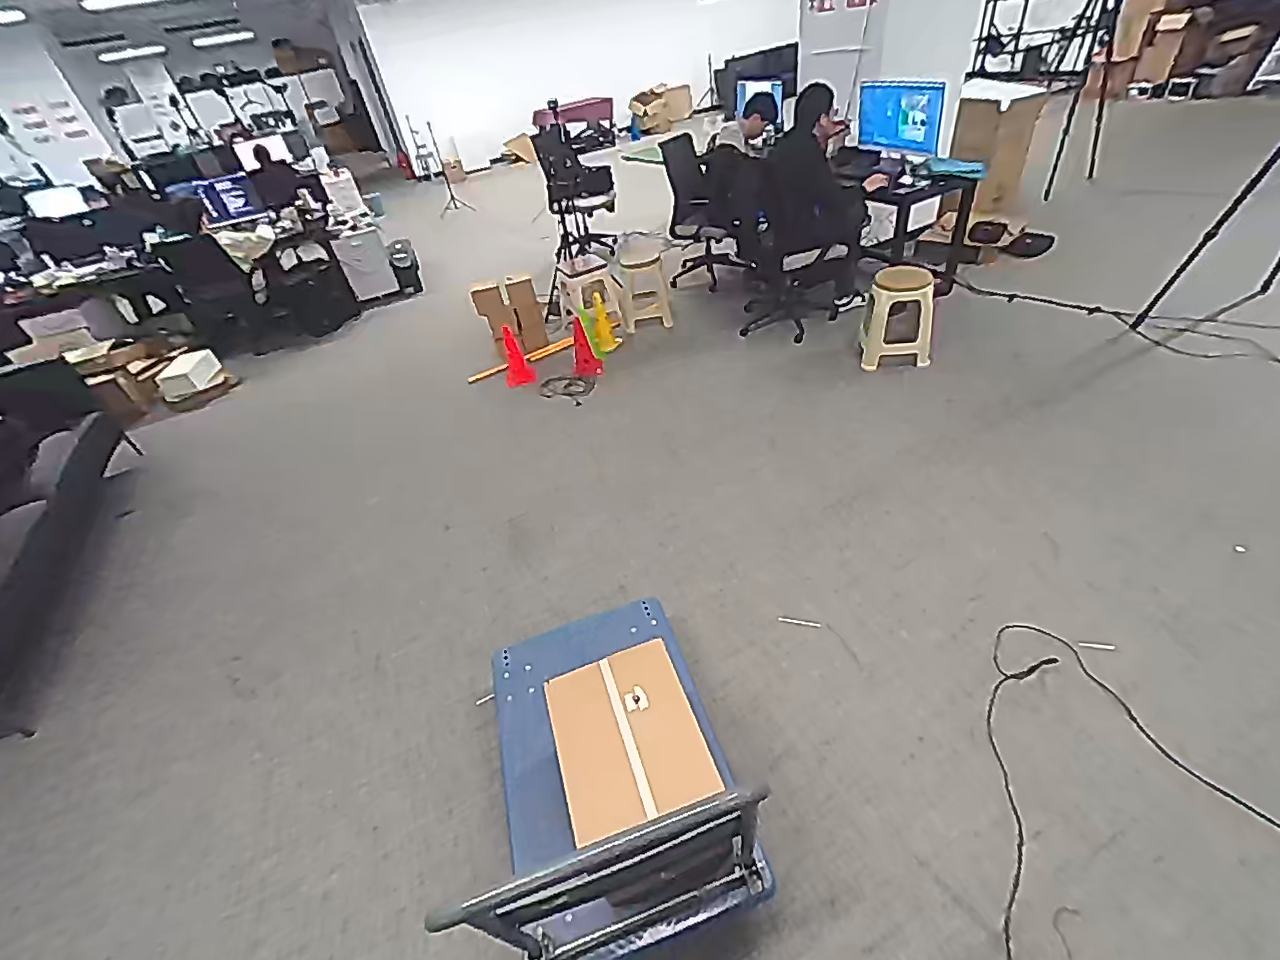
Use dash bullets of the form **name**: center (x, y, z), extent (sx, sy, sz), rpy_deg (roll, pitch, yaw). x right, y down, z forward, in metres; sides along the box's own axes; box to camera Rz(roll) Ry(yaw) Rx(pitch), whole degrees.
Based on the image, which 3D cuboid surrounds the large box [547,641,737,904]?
- **large box**: center (0.001, 0.678, 1.284), extent (0.320, 0.320, 0.408), rpy_deg (-18, 40, -9)
